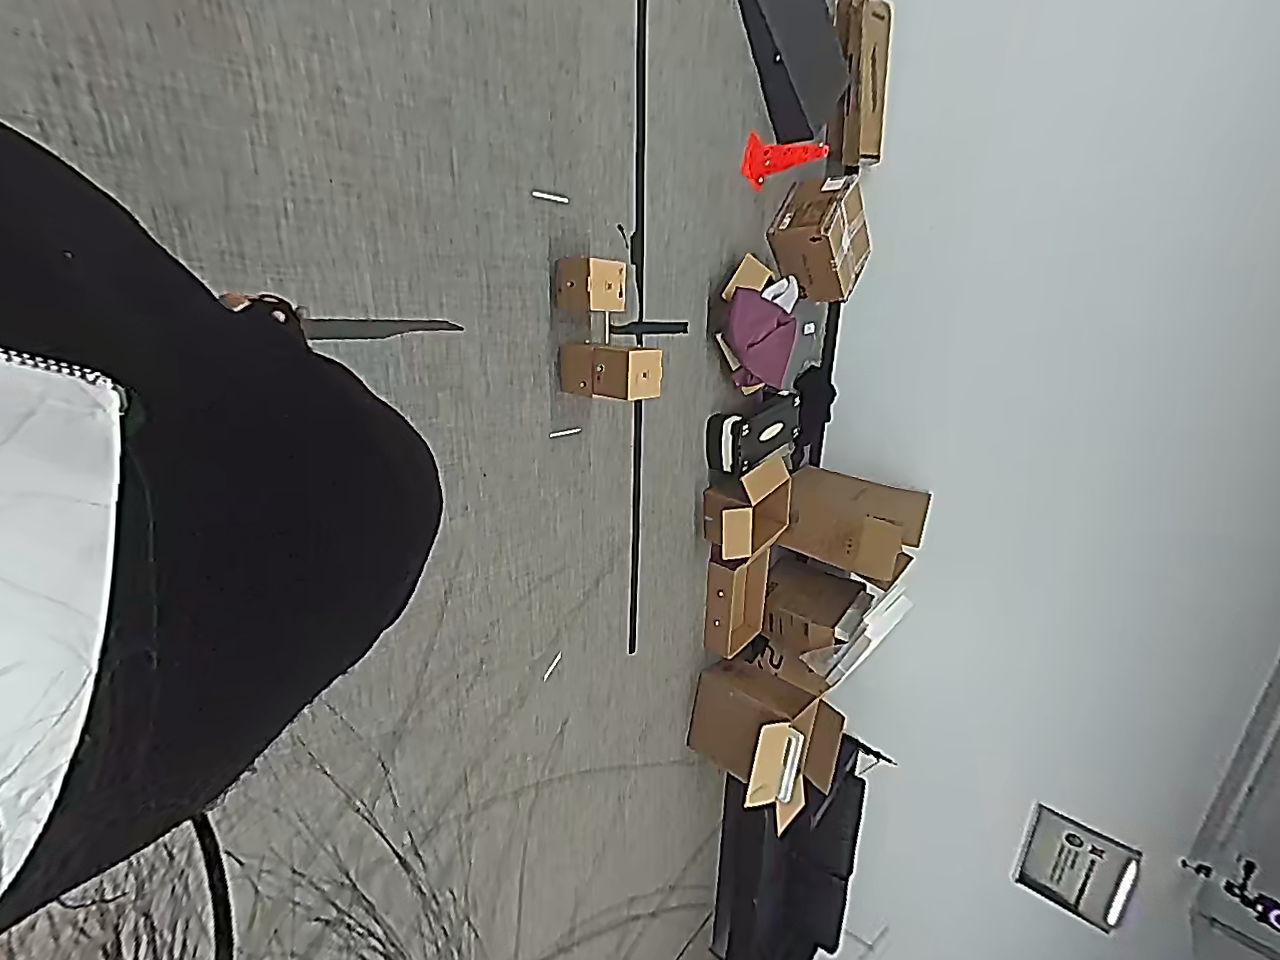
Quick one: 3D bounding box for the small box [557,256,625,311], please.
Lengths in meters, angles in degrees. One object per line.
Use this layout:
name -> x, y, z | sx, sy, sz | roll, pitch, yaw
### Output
small box -> -0.172, -0.677, 1.872 | 0.179, 0.176, 0.168 | -16, 115, -46

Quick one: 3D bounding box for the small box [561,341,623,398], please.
small box -> -0.174, -0.407, 1.970 | 0.168, 0.176, 0.179 | -21, 119, -46

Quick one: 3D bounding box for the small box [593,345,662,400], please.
small box -> -0.044, -0.377, 1.877 | 0.179, 0.176, 0.168 | -17, 116, -45
